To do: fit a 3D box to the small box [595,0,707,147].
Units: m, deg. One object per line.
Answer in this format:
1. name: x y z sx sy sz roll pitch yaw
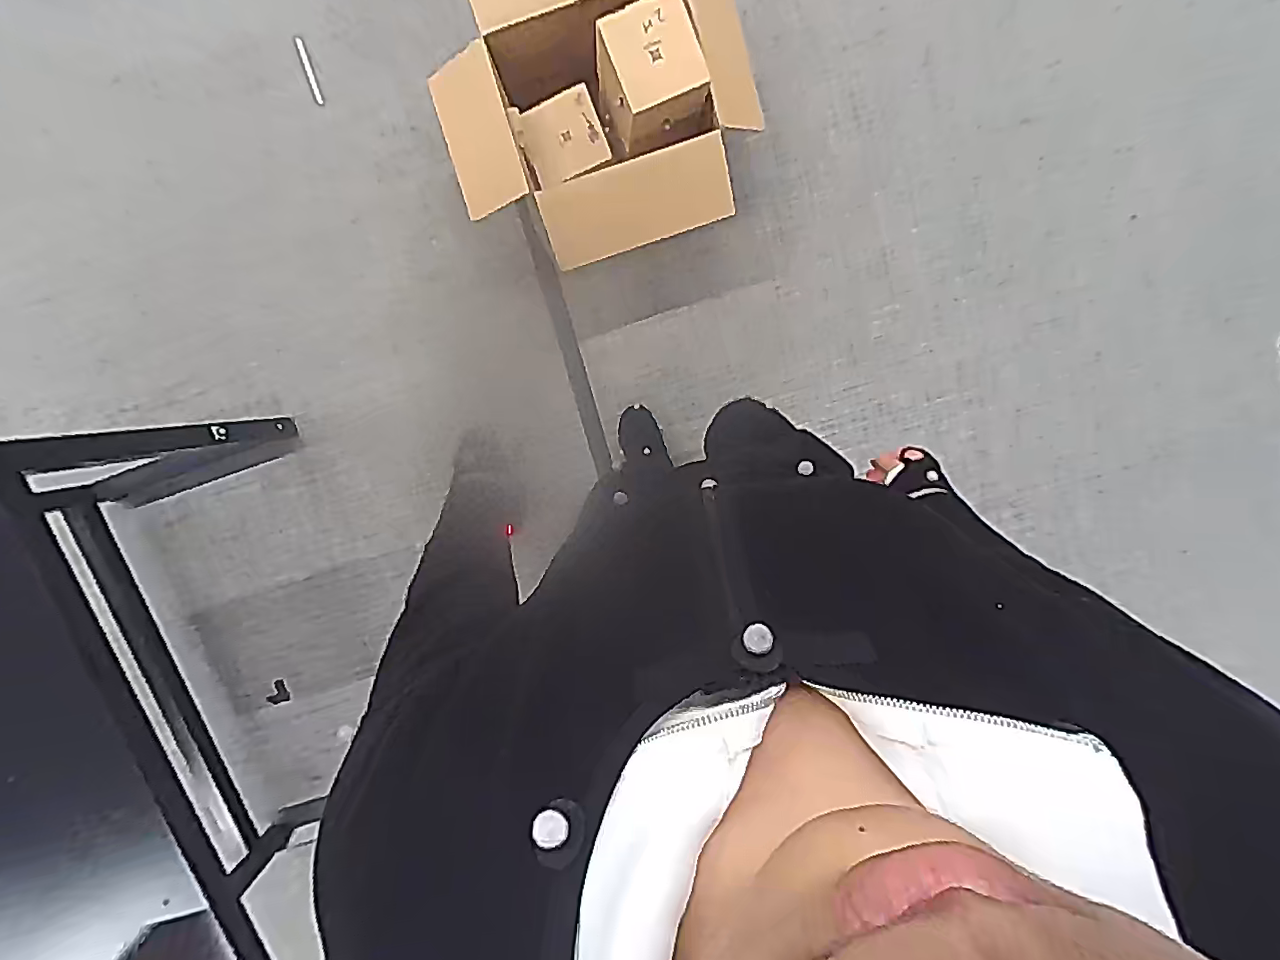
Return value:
1. small box: 0.019 -0.810 1.090 0.168 0.176 0.179 -24 99 0
